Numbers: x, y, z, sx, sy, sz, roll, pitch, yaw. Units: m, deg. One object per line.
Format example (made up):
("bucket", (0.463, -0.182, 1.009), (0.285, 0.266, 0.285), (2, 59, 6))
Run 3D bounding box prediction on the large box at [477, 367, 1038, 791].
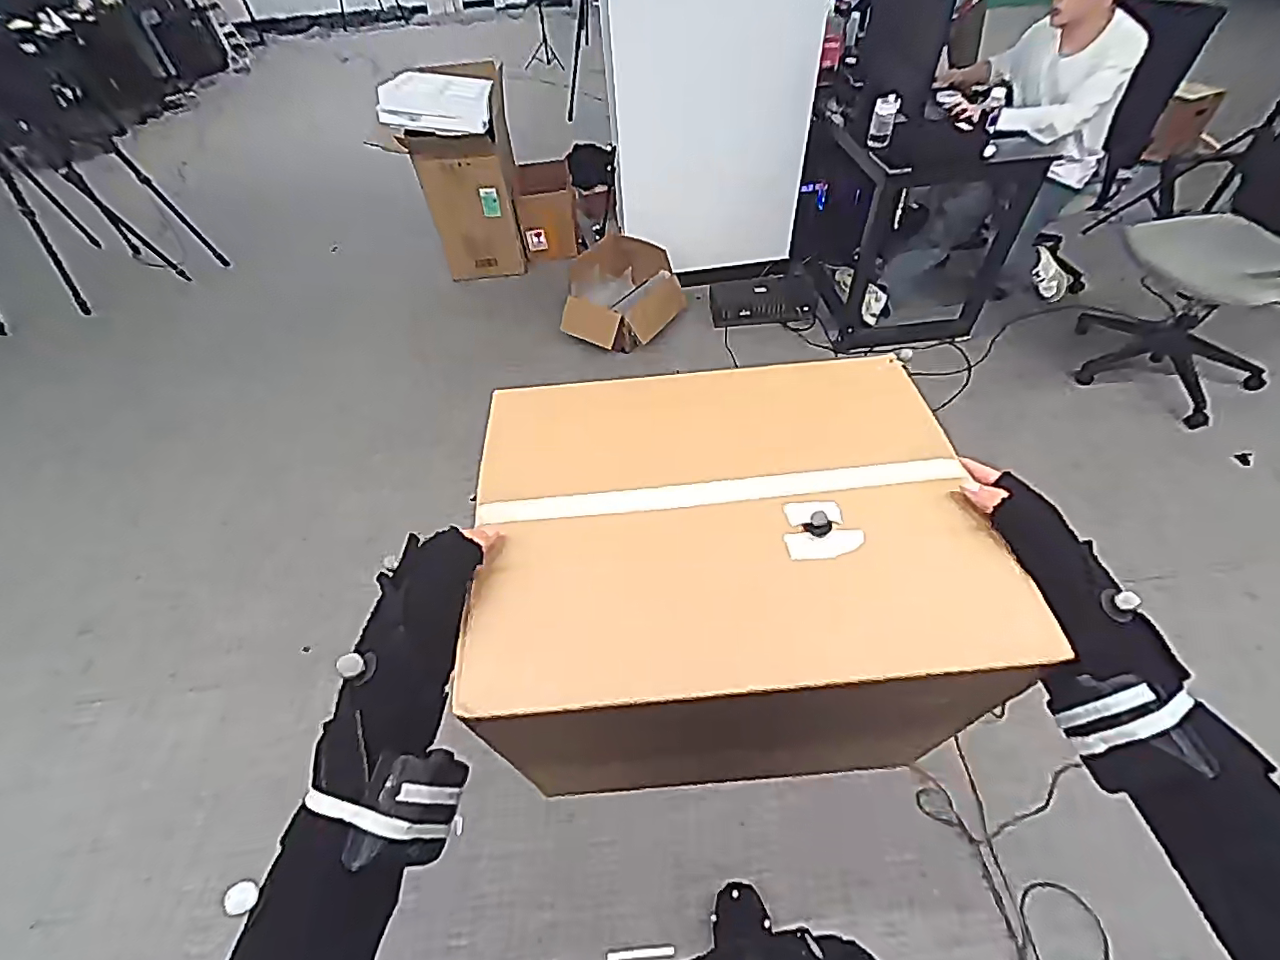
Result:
("large box", (0.076, 0.113, 0.579), (0.408, 0.320, 0.320), (-5, 51, -1))
